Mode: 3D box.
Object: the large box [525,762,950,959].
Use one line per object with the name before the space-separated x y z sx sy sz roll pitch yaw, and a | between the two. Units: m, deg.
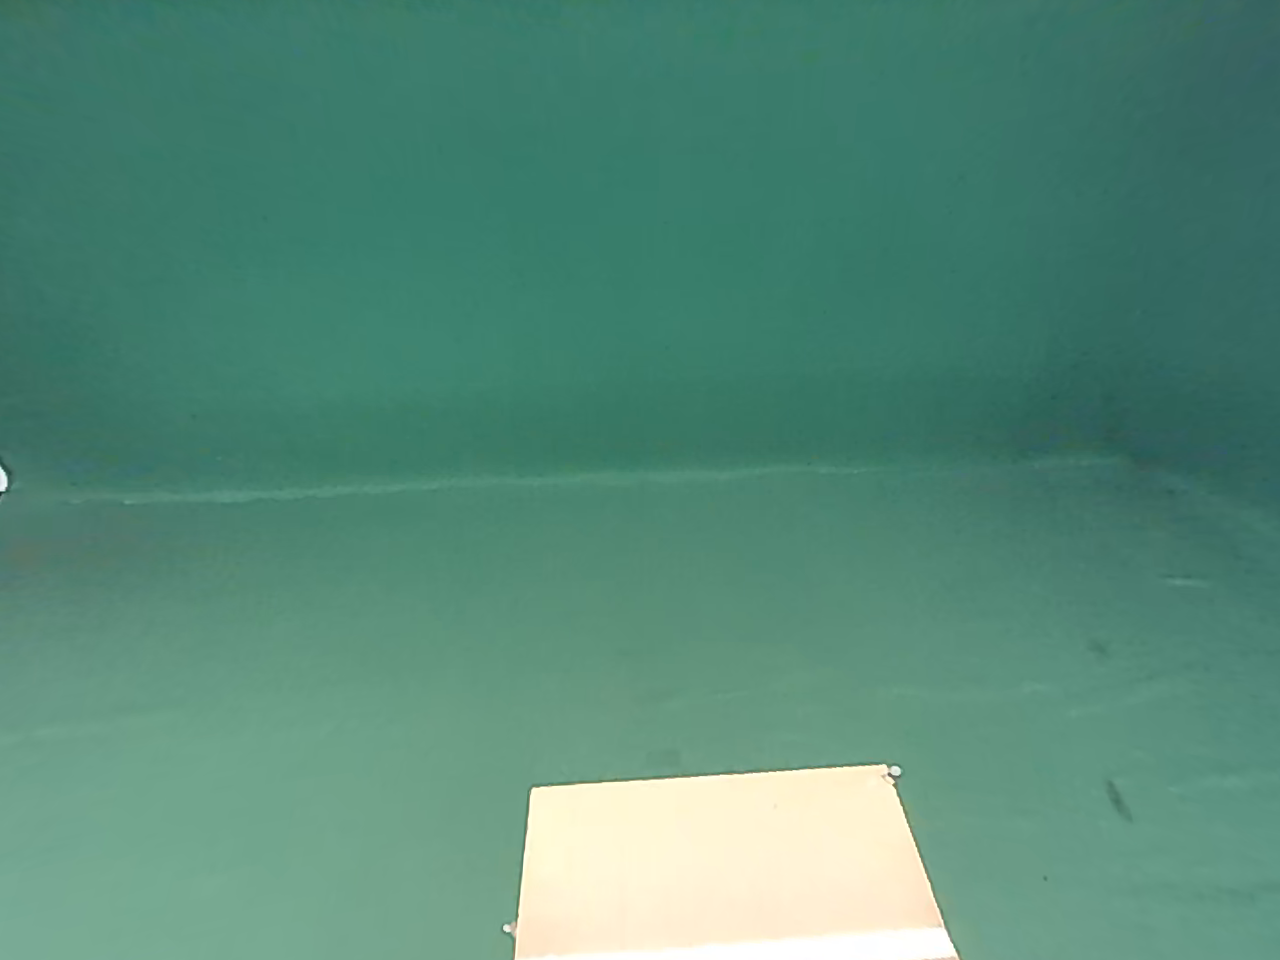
large box | 0.091 0.553 0.607 0.408 0.320 0.320 -4 43 -2
